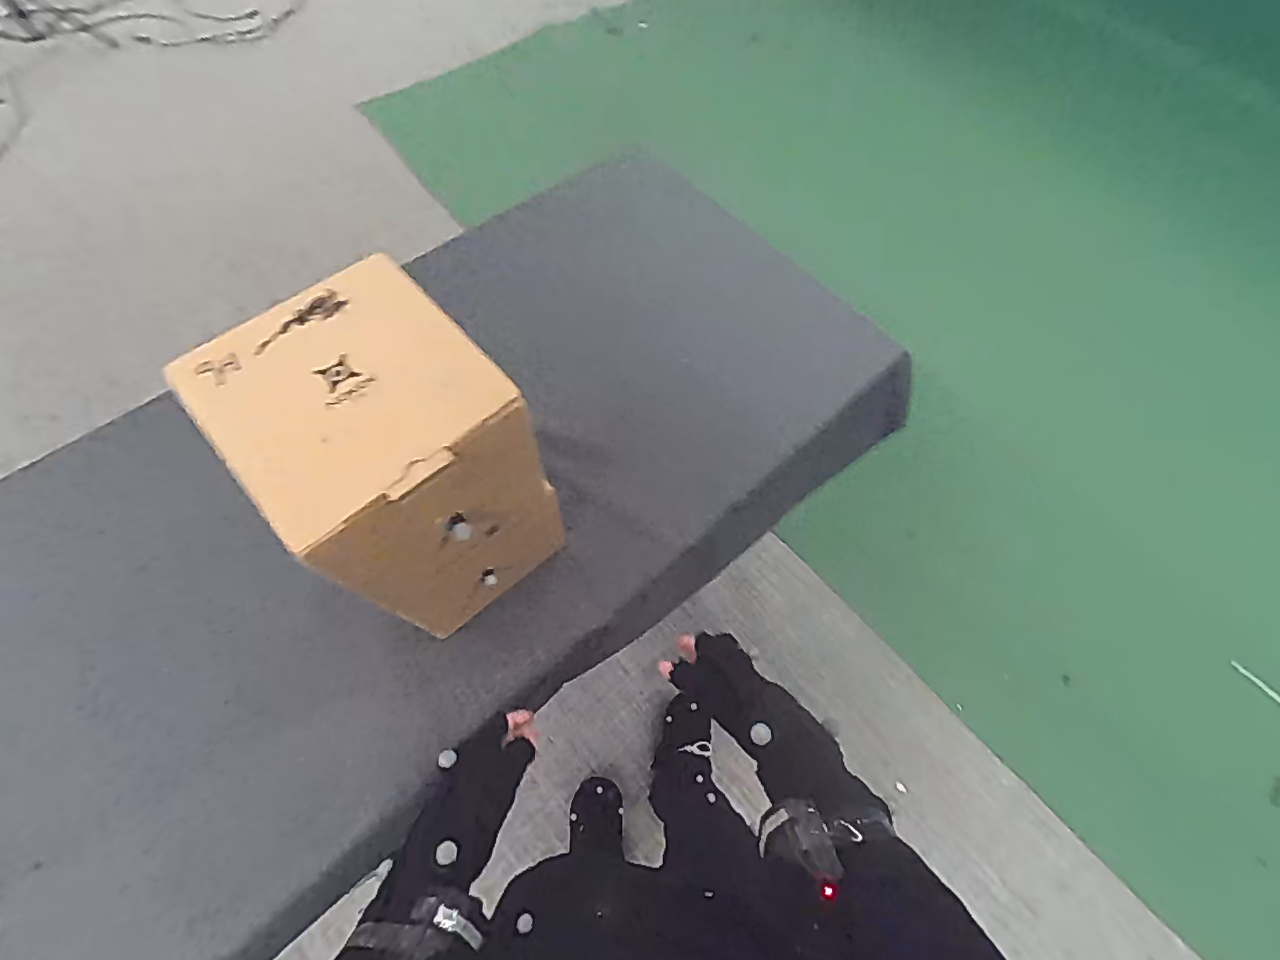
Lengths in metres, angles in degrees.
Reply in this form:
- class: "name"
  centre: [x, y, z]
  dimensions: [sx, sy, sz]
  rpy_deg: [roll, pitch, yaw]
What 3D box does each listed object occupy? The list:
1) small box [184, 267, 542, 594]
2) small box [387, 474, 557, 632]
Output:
- class: "small box"
  centre: [-0.198, -0.026, 0.443]
  dimensions: [0.168, 0.176, 0.179]
  rpy_deg: [-40, 74, -19]
- class: "small box"
  centre: [-0.205, 0.040, 0.592]
  dimensions: [0.179, 0.176, 0.168]
  rpy_deg: [-39, 73, -18]
